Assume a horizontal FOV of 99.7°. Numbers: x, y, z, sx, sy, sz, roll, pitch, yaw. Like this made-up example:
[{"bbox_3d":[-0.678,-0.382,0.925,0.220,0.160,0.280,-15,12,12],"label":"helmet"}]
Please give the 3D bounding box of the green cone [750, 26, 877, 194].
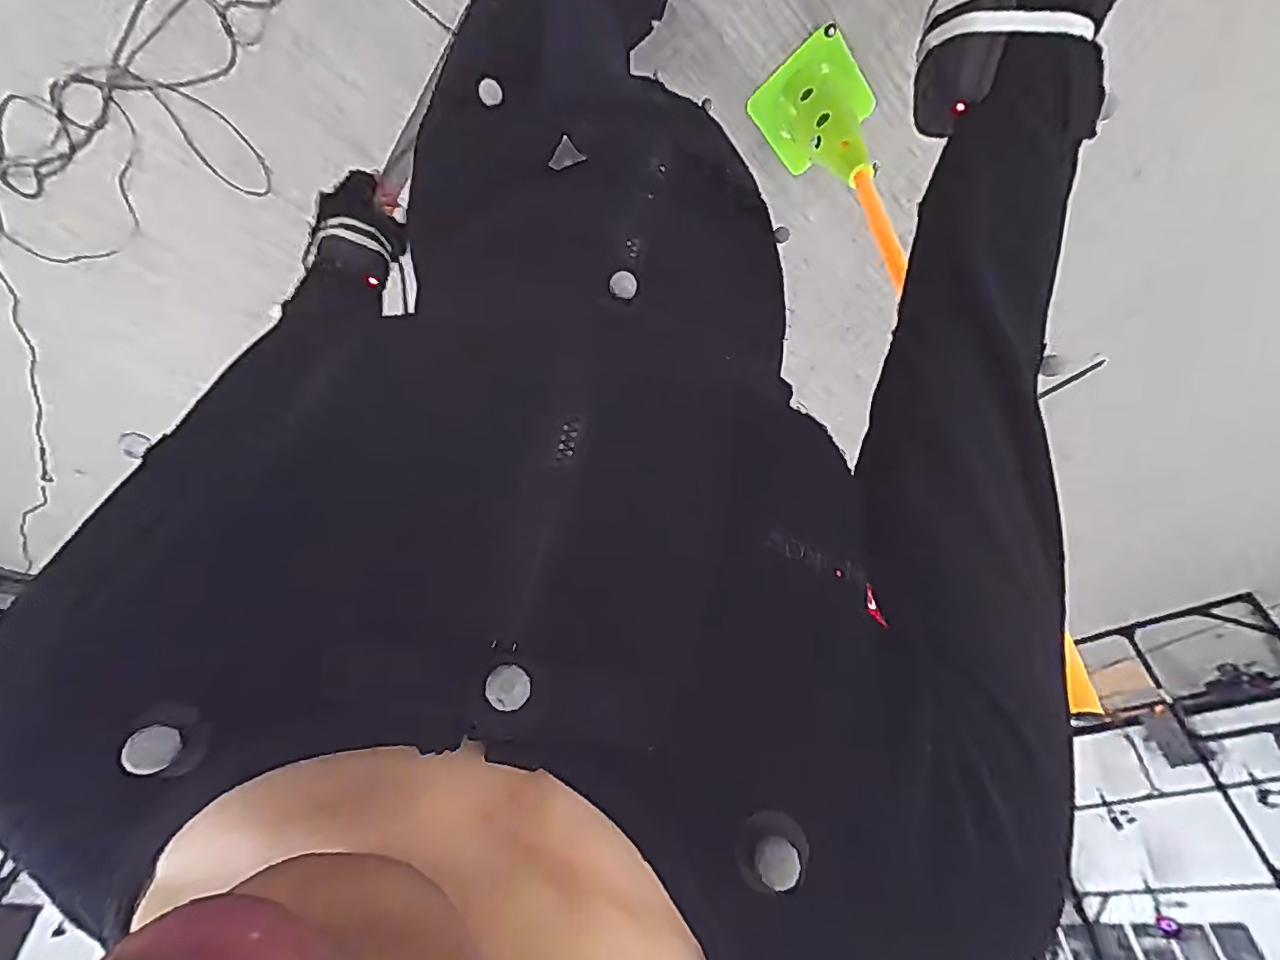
[{"bbox_3d":[0.359,-0.633,1.002,0.200,0.368,0.202,-33,133,33],"label":"green cone"}]
